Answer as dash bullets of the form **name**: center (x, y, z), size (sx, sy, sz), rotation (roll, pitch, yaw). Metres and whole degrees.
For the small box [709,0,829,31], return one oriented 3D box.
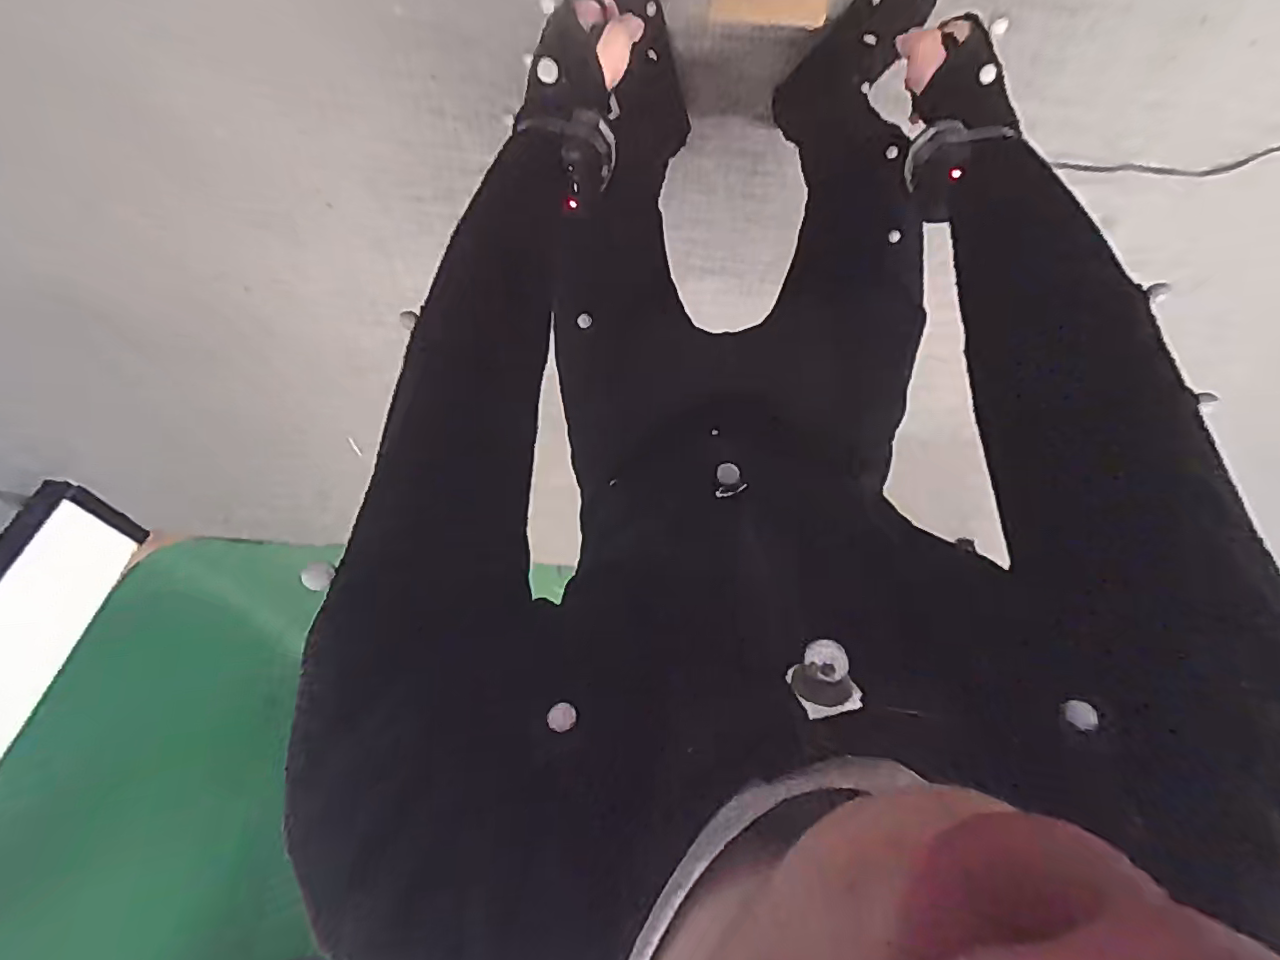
- **small box**: center (0.188, -0.762, 0.743), size (0.168, 0.176, 0.179), rotation (6, 148, 2)
